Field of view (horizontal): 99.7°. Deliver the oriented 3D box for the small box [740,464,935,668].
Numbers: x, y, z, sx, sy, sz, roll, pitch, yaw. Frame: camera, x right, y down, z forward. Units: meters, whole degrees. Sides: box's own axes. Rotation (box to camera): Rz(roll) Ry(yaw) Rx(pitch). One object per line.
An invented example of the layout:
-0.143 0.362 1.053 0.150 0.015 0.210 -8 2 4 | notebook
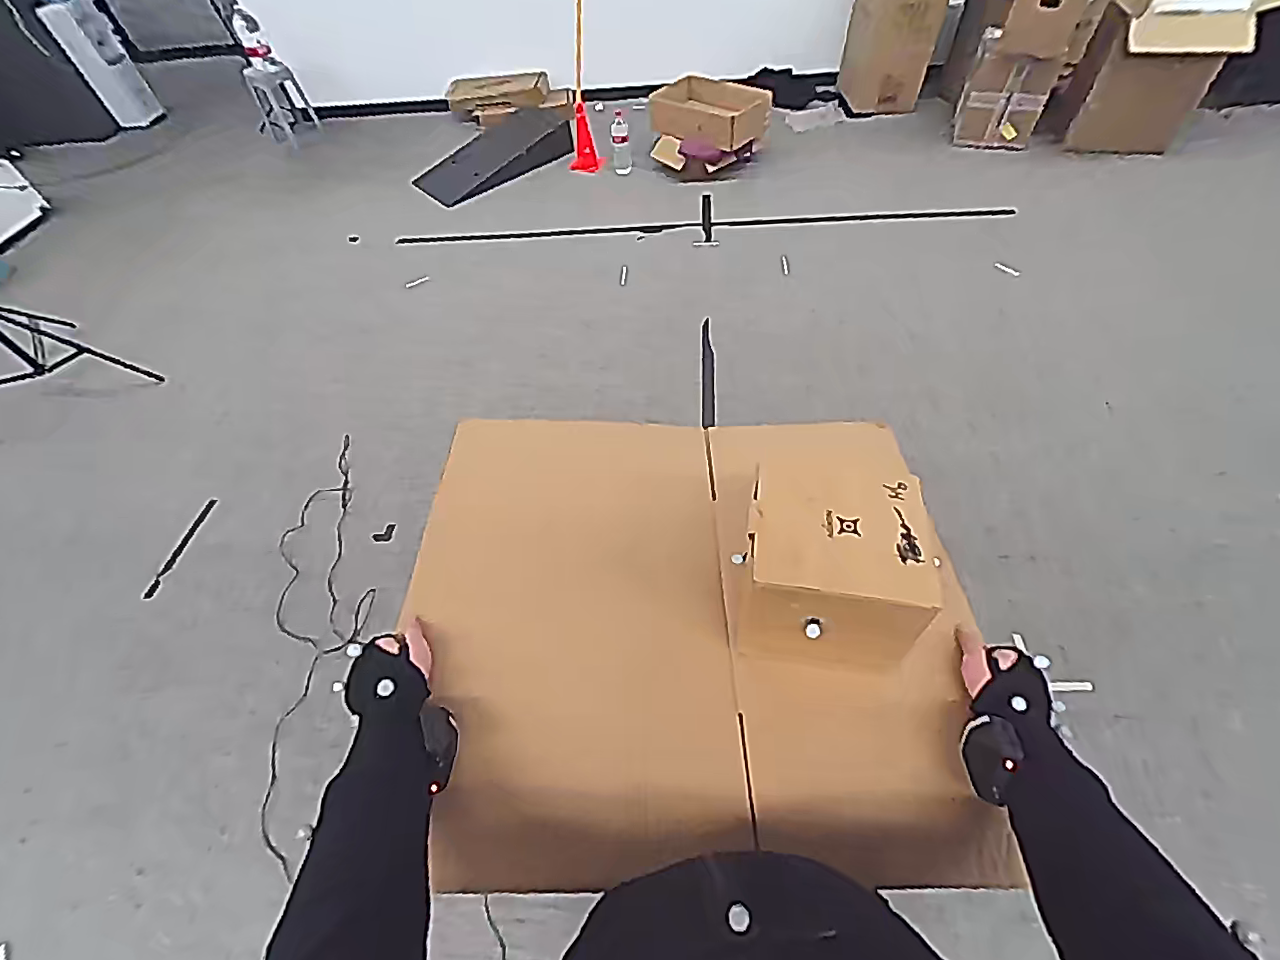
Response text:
0.212 0.102 0.629 0.179 0.176 0.168 6 51 10 | small box
